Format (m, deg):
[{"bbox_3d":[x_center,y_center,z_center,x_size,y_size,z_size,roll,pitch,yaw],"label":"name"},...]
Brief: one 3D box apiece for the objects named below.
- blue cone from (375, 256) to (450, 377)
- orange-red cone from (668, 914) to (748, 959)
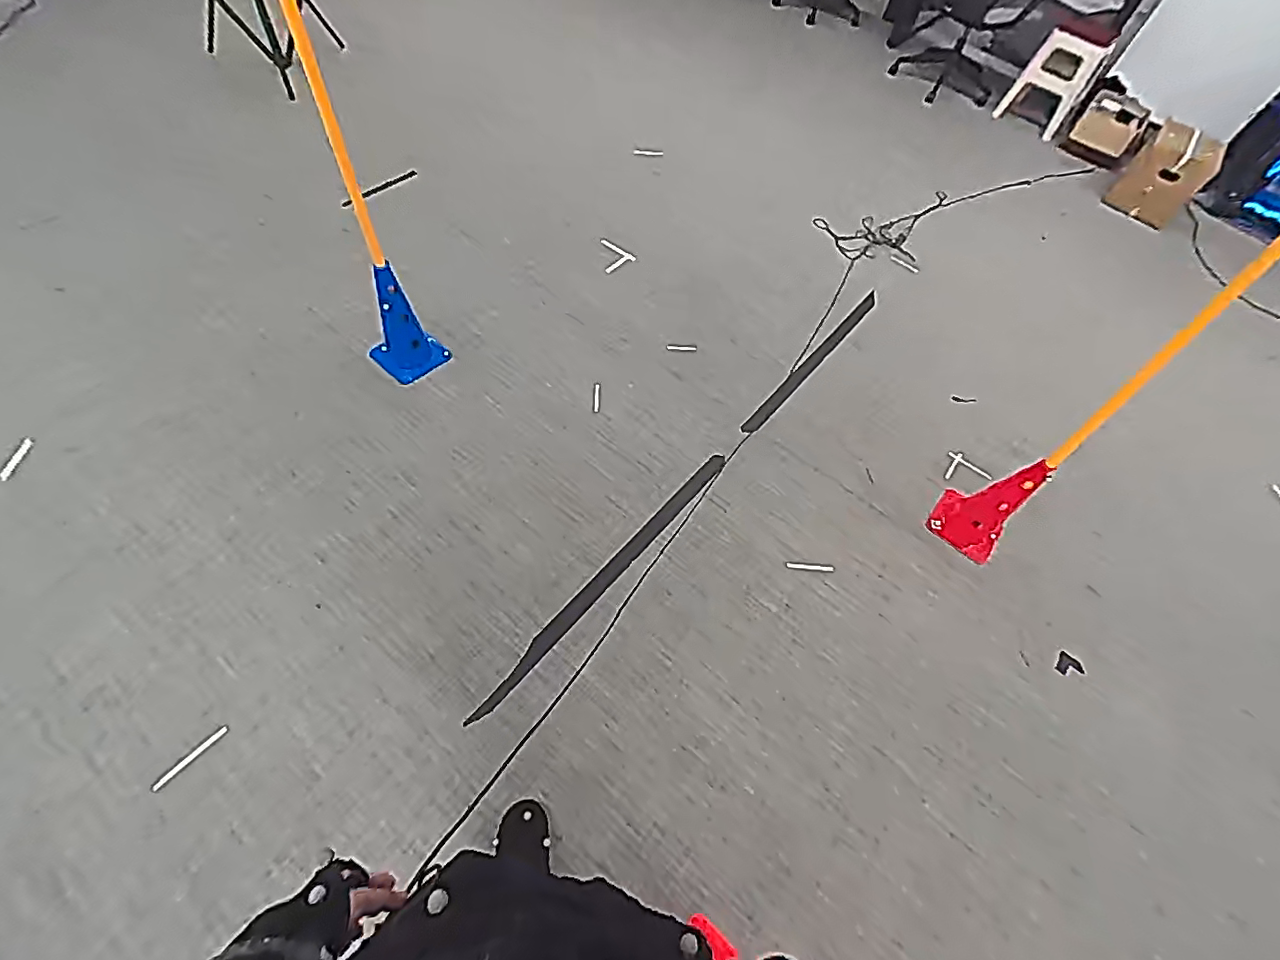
[{"bbox_3d":[-0.742,-0.515,1.665,0.193,0.380,0.192,41,61,16],"label":"blue cone"},{"bbox_3d":[0.152,0.903,0.891,0.198,0.360,0.199,40,63,17],"label":"orange-red cone"}]
